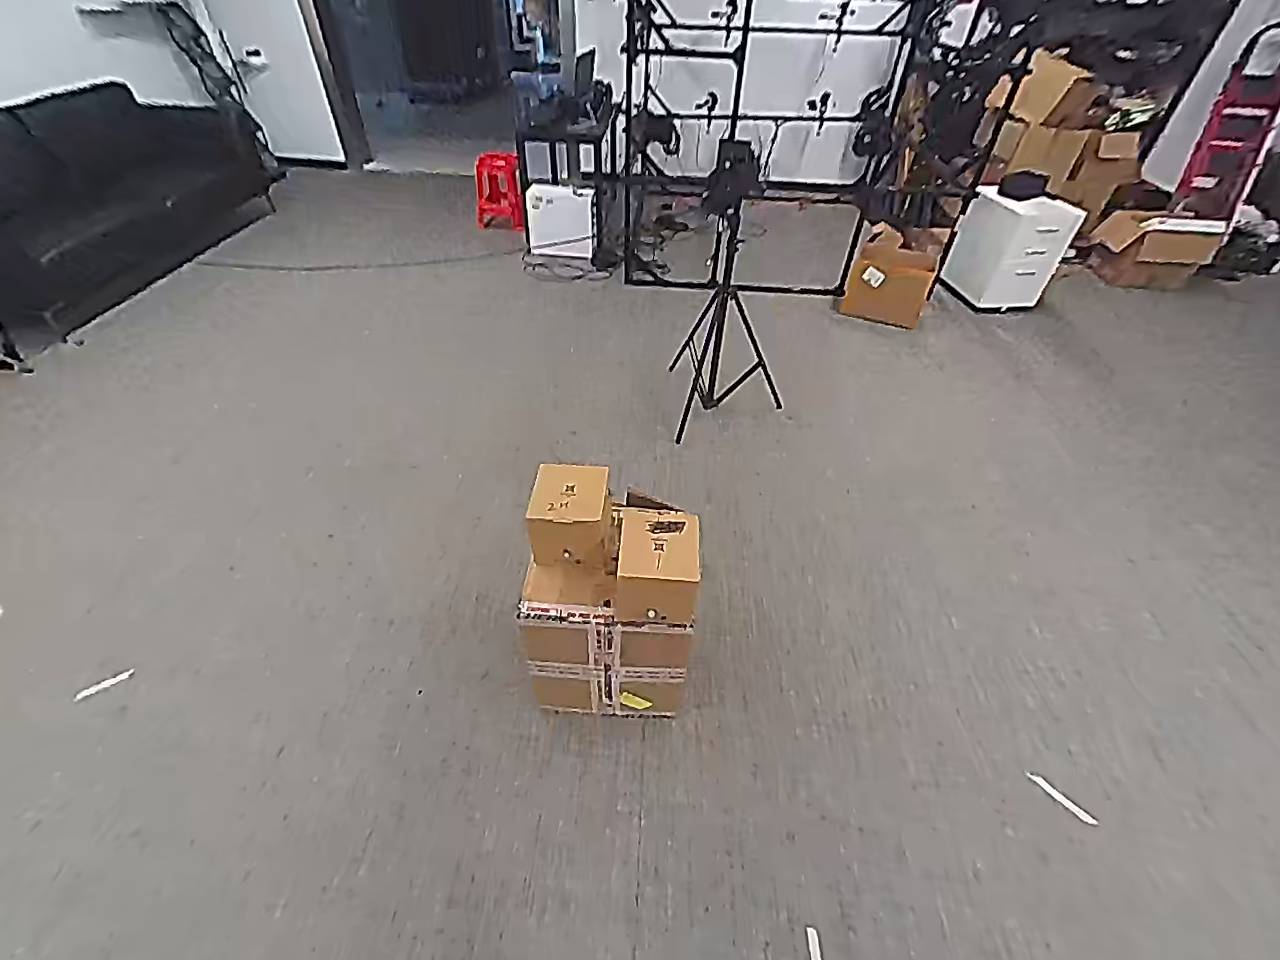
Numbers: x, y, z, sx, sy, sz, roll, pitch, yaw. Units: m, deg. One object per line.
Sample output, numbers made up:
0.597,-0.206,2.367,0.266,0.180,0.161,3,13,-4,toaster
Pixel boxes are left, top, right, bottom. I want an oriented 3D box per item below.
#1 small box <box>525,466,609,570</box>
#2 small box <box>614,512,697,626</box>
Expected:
-0.164,0.089,1.281,0.168,0.176,0.179,3,45,3,small box
0.033,0.195,1.183,0.168,0.176,0.179,4,46,0,small box
